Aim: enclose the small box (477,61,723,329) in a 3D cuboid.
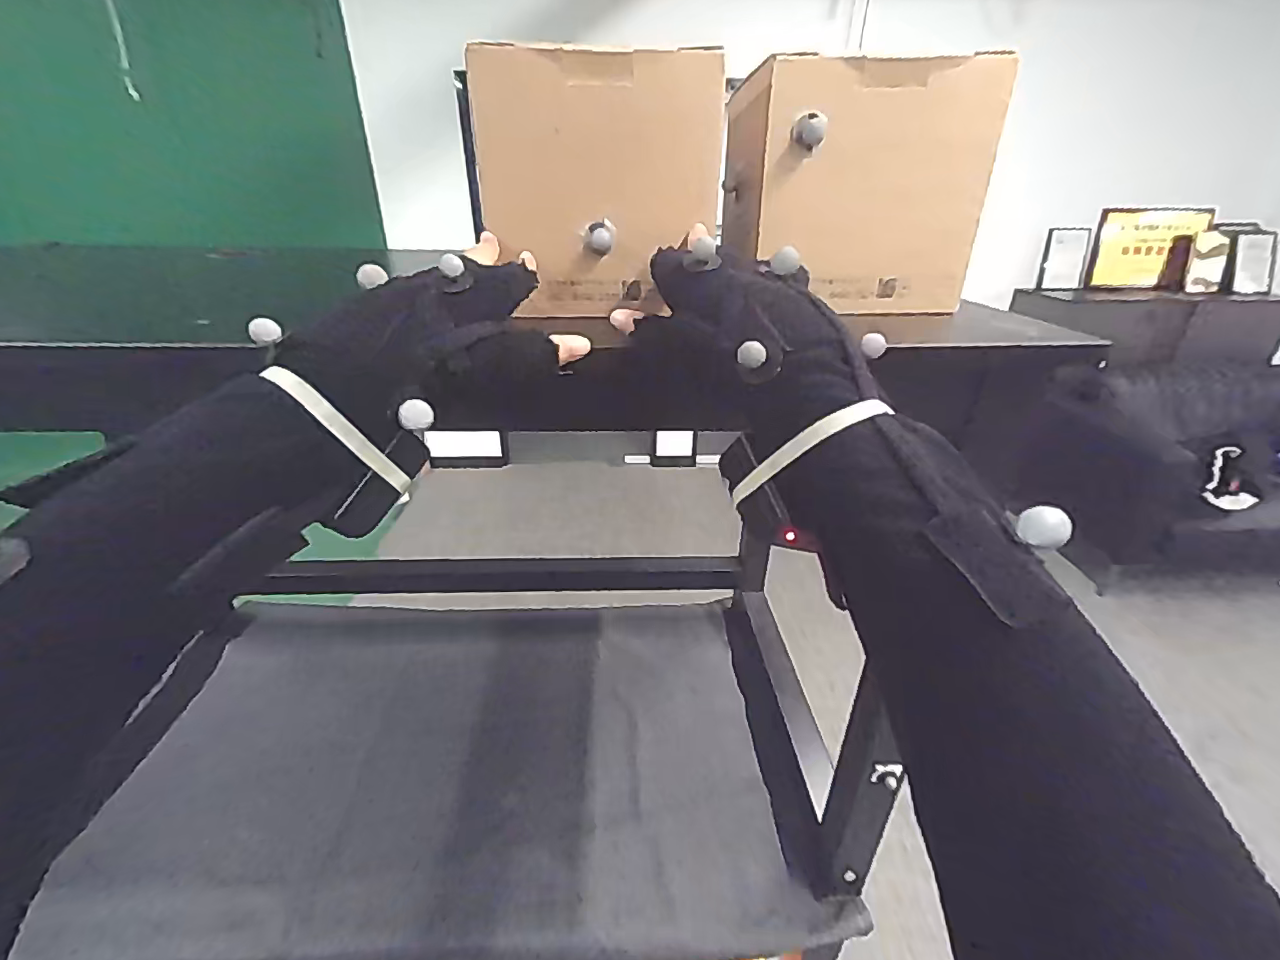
[{"bbox_3d":[-0.031,-0.233,0.464,0.168,0.176,0.179,-1,28,-3],"label":"small box"}]
